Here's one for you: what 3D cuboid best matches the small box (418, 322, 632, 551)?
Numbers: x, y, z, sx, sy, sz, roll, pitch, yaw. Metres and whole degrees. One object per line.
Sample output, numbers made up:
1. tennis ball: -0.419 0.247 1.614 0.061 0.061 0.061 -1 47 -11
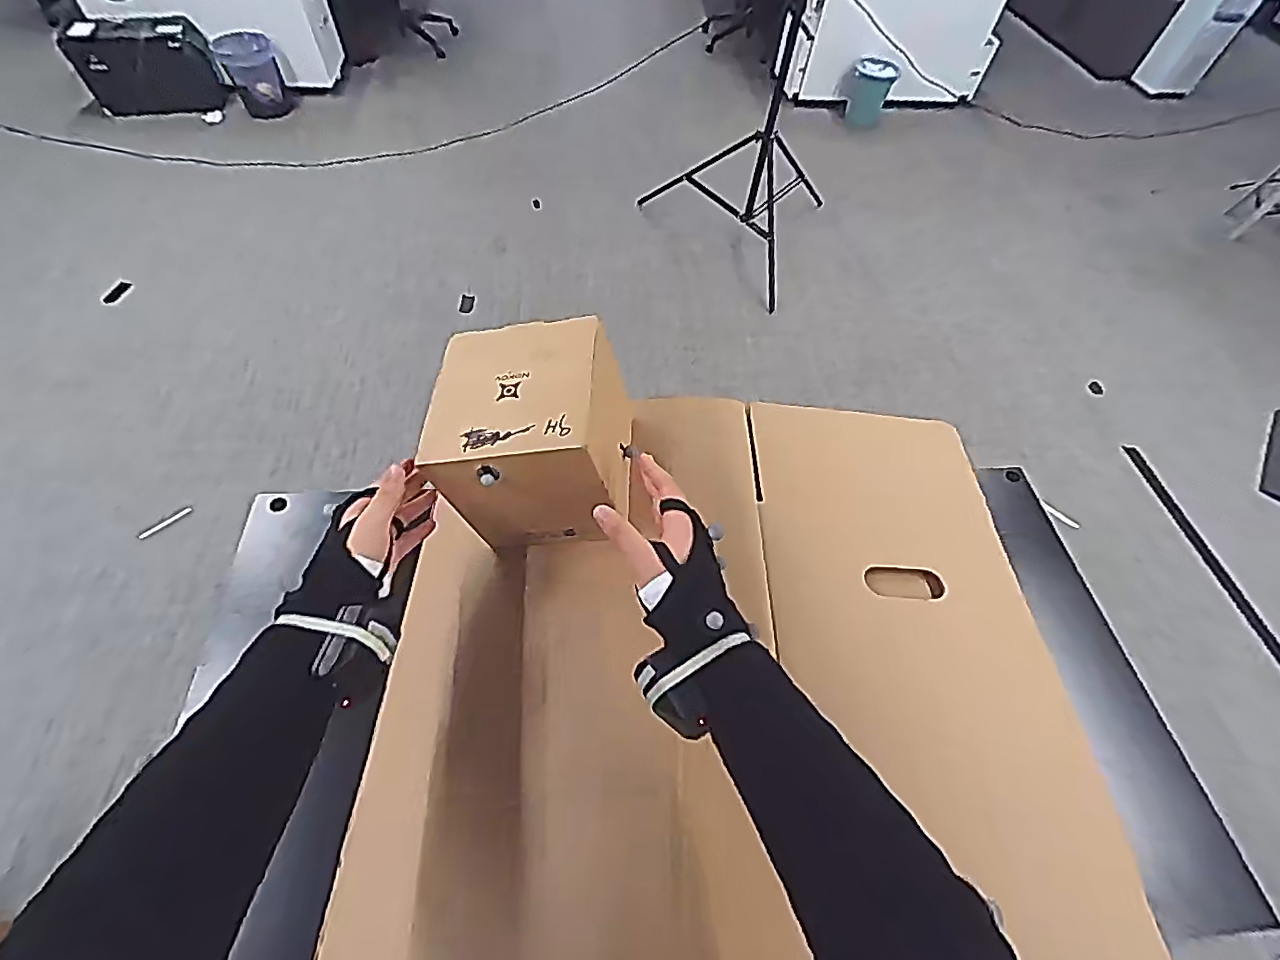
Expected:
1. small box: -0.106 -0.042 0.591 0.168 0.176 0.179 -6 54 10
